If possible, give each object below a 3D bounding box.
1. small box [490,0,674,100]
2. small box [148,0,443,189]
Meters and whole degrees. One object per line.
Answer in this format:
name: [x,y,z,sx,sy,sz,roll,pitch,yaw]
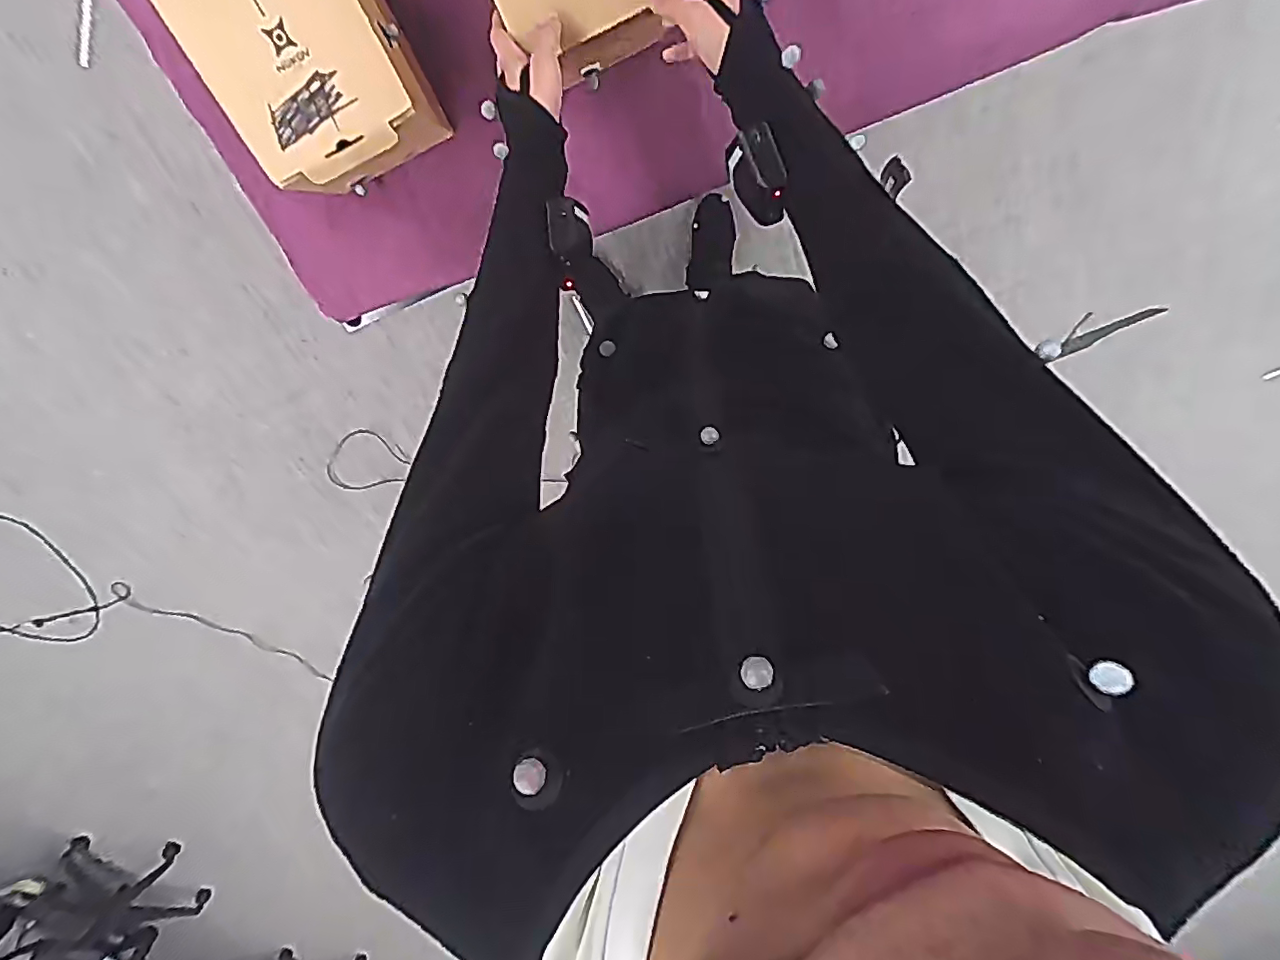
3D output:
small box: [-0.079,-0.529,0.548,0.168,0.176,0.179,-22,116,7]
small box: [-0.336,-0.430,0.569,0.168,0.176,0.179,-24,115,6]
